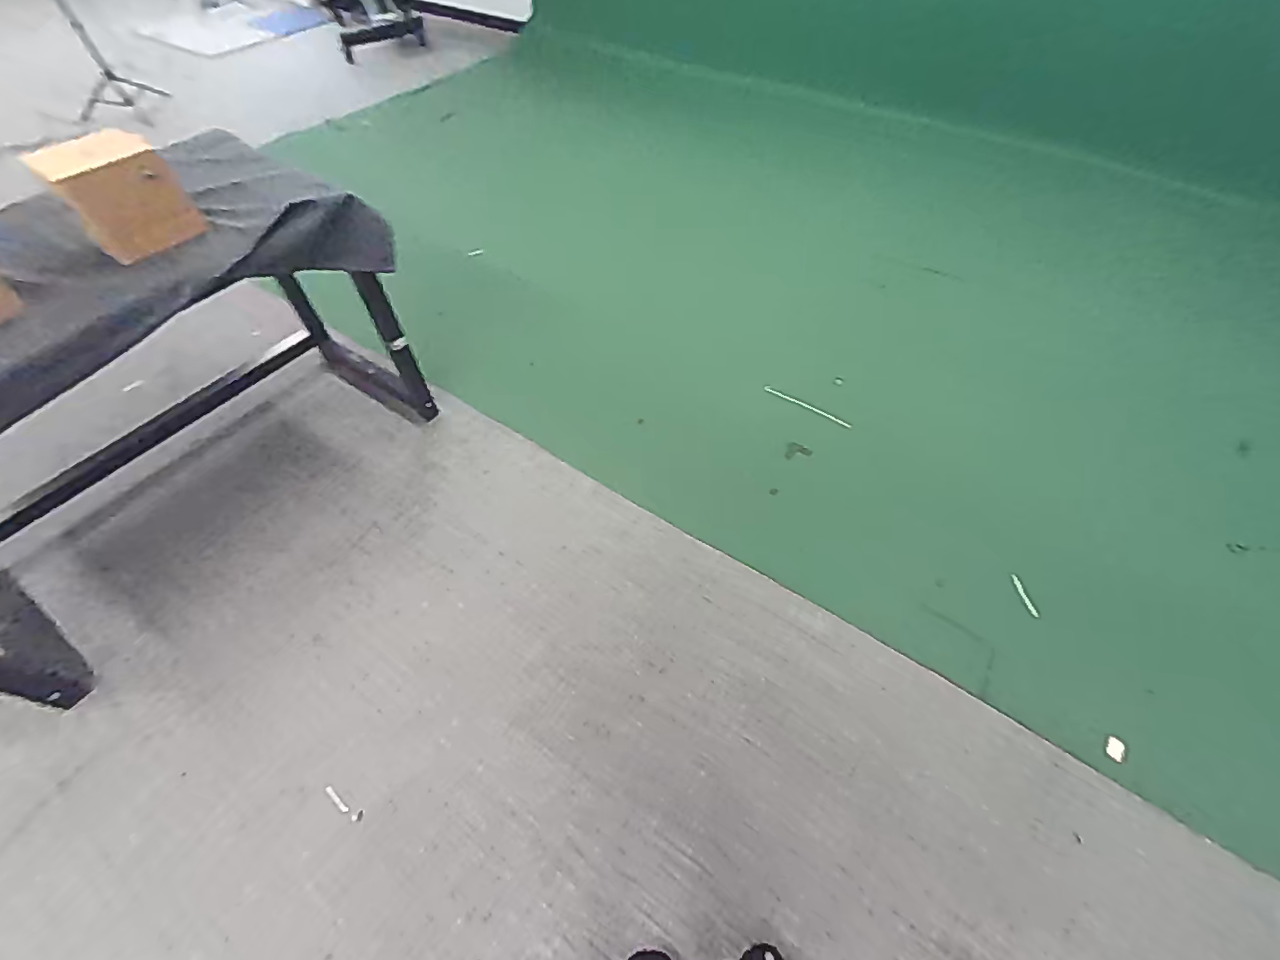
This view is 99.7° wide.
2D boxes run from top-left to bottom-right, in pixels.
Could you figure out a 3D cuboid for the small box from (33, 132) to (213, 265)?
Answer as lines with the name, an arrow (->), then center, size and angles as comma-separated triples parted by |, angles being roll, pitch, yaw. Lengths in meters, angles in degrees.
small box -> -1.033, -0.567, 1.096 | 0.168, 0.176, 0.179 | 30, 59, 21
